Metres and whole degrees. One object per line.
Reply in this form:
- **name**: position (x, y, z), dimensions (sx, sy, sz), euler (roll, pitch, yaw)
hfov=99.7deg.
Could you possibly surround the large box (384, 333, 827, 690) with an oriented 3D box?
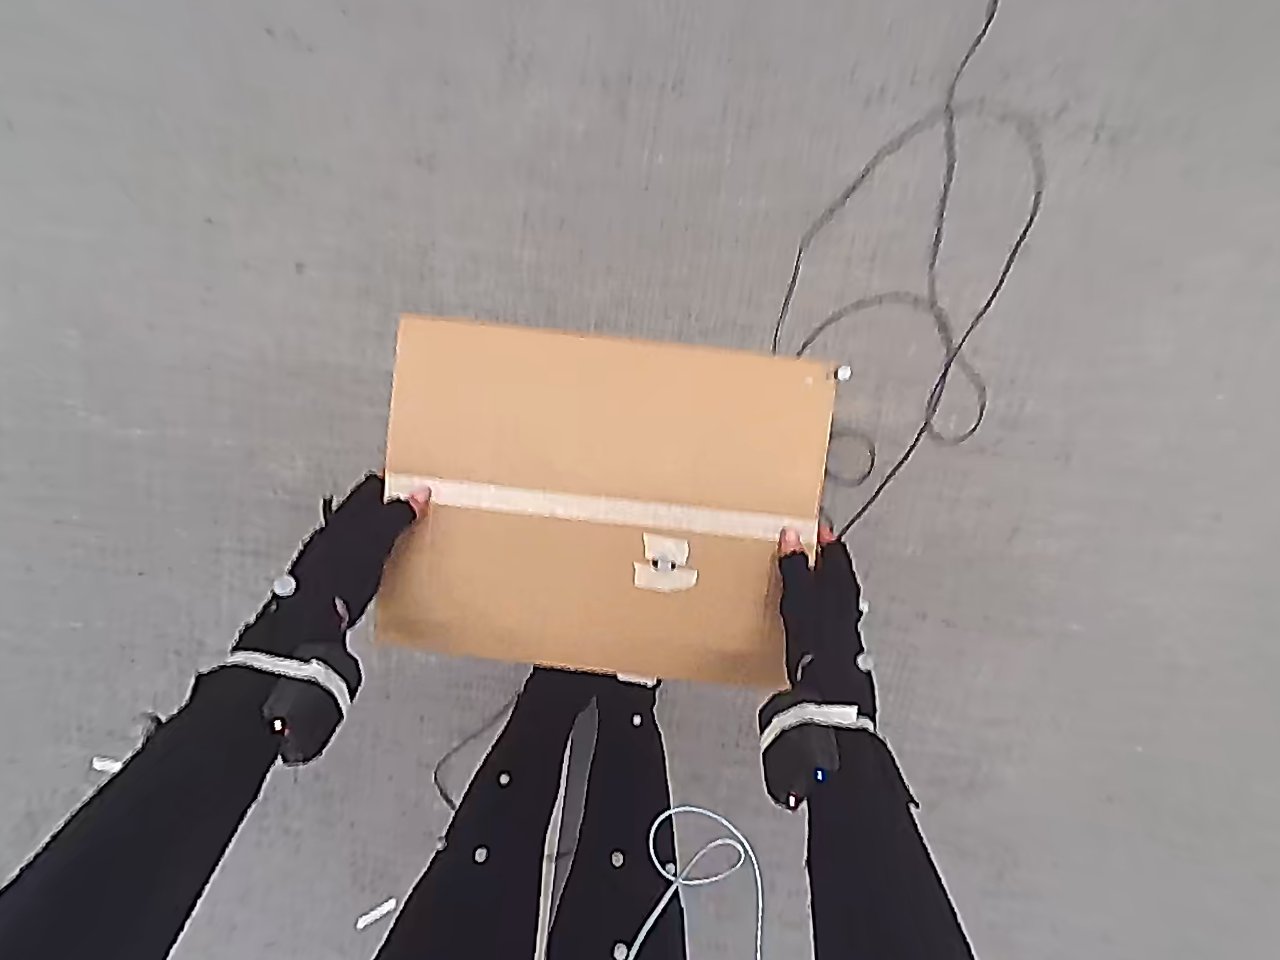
- **large box**: position (-0.037, 0.026, 0.660), dimensions (0.408, 0.320, 0.320), euler (6, 94, 0)
